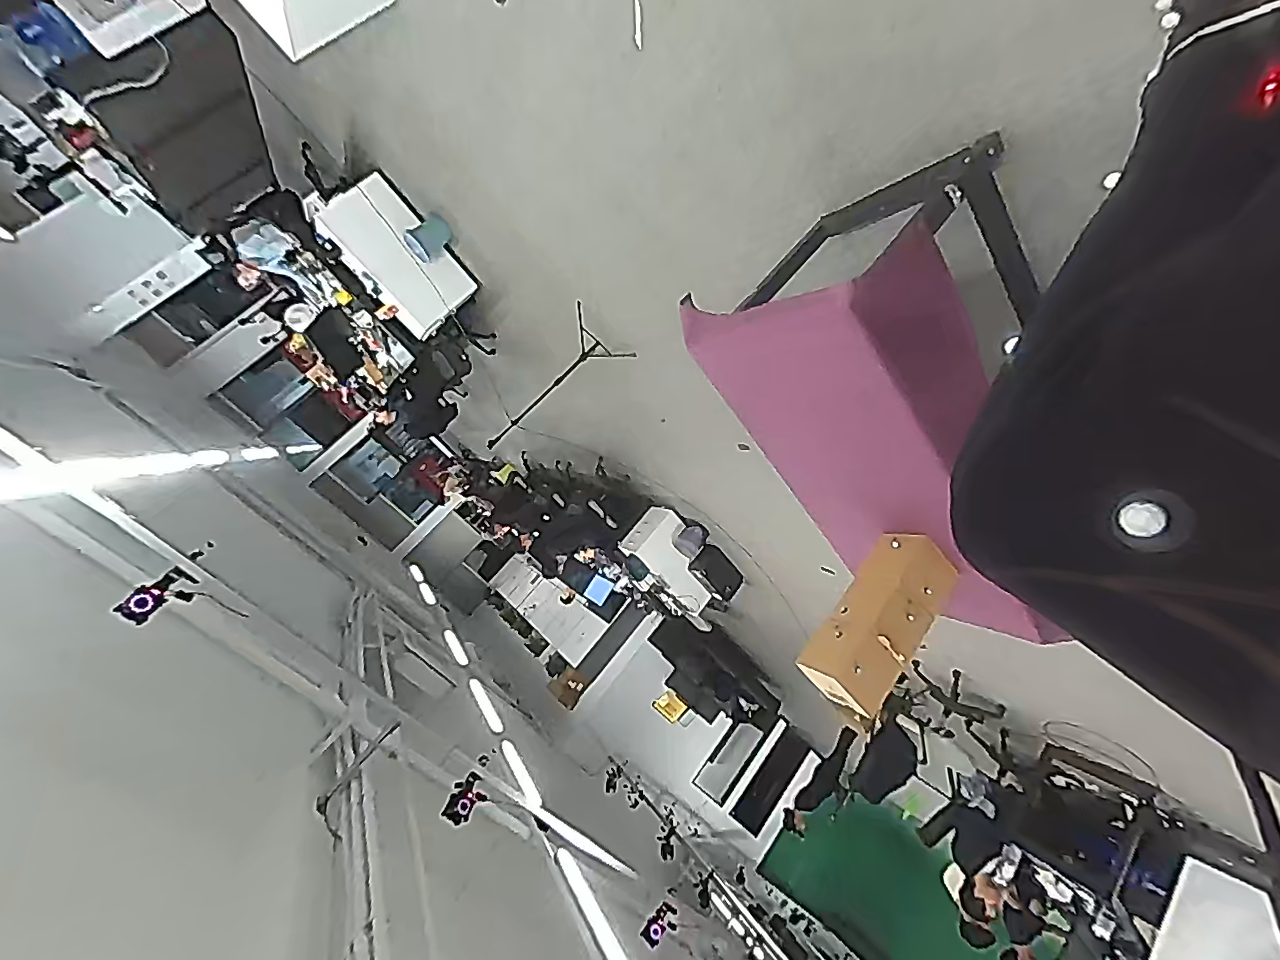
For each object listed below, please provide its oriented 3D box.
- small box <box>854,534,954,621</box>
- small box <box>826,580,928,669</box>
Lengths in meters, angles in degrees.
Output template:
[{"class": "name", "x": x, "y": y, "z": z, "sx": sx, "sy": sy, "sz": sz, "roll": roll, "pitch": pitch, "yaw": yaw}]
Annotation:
[{"class": "small box", "x": 0.783, "y": 0.283, "z": 1.598, "sx": 0.179, "sy": 0.176, "sz": 0.168, "roll": 46, "pitch": 162, "yaw": -12}, {"class": "small box", "x": 0.682, "y": 0.407, "z": 1.556, "sx": 0.168, "sy": 0.176, "sz": 0.179, "roll": 45, "pitch": 162, "yaw": -11}]
